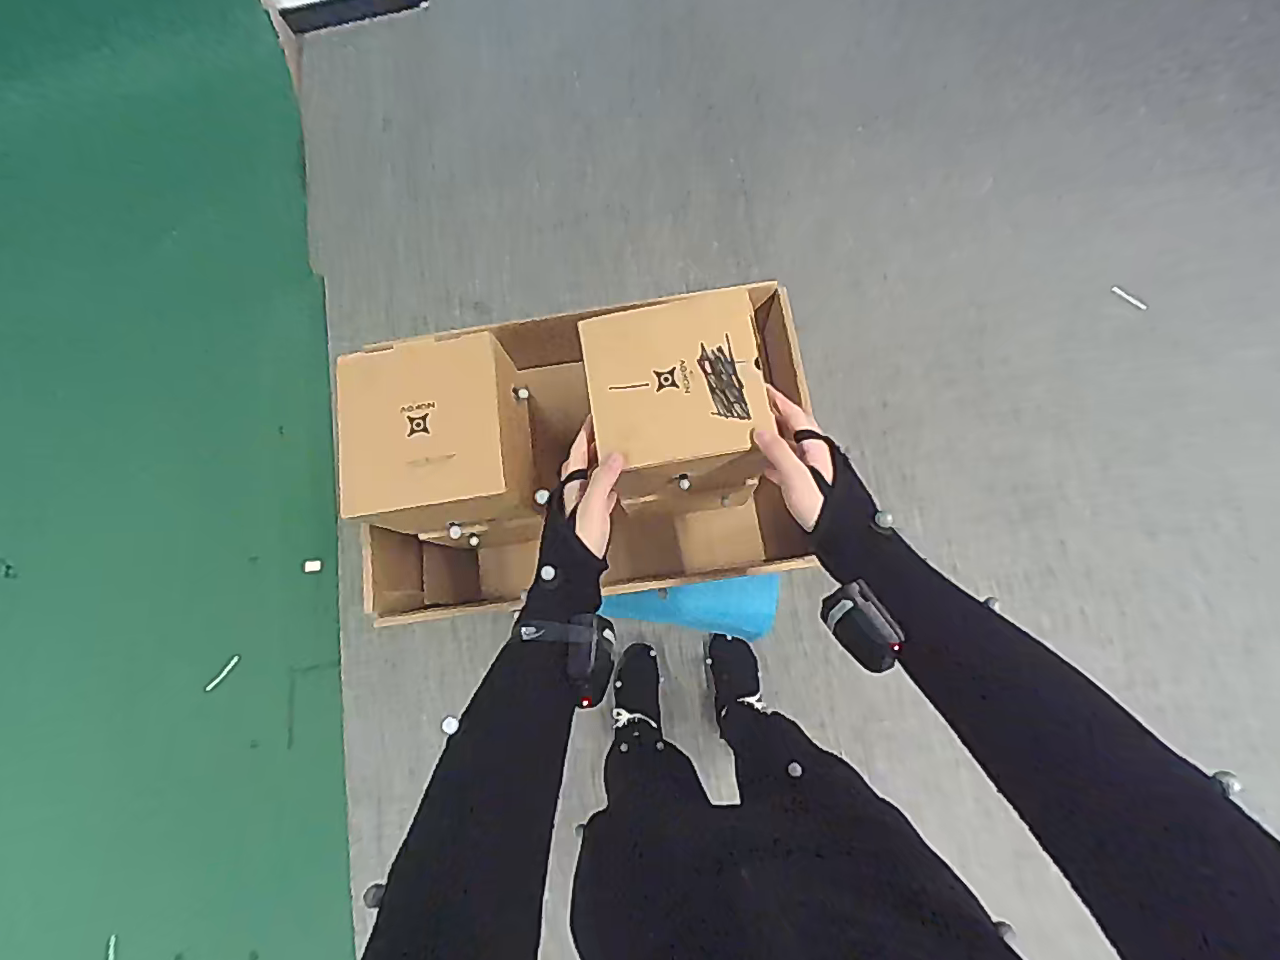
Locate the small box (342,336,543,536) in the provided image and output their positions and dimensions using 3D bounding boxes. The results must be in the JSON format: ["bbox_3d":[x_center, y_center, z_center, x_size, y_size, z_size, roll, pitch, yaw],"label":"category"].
[{"bbox_3d":[-0.216,-0.040,0.624,0.168,0.176,0.179,-8,78,2],"label":"small box"}]

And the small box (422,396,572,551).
[{"bbox_3d":[-0.201,-0.001,0.782,0.168,0.176,0.179,-8,77,3],"label":"small box"}]
